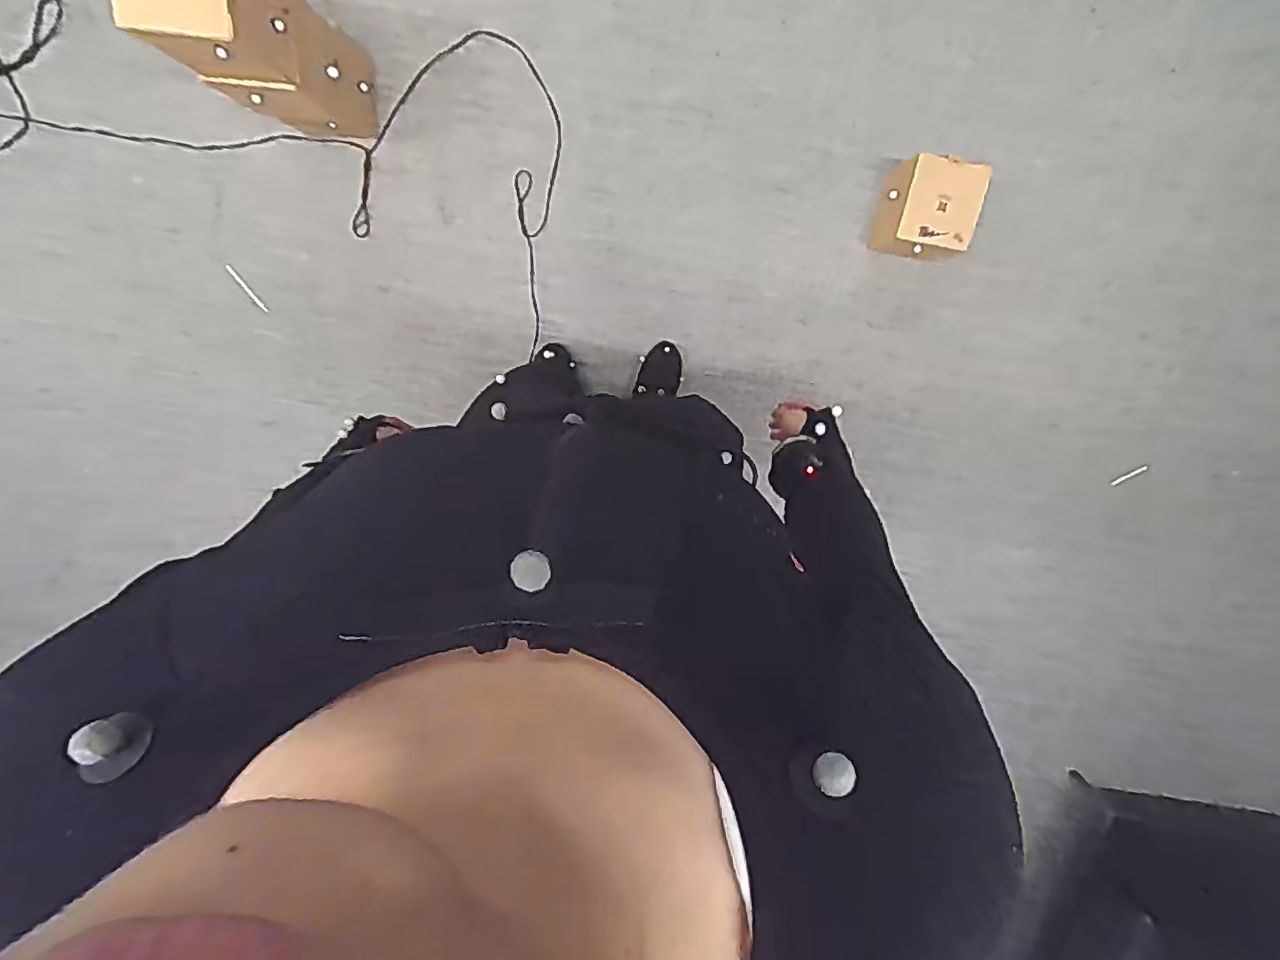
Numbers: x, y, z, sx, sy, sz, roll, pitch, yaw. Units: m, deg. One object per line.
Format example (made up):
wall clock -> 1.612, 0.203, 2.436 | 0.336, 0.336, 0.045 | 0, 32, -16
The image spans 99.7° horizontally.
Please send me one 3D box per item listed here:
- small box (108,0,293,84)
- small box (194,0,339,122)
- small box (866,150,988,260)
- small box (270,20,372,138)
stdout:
small box -> -0.703, -0.773, 0.872 | 0.179, 0.176, 0.168 | 4, 105, -2
small box -> -0.707, -0.811, 1.031 | 0.179, 0.176, 0.168 | 5, 106, -2
small box -> 0.650, -0.624, 1.249 | 0.168, 0.176, 0.179 | 10, 105, -3
small box -> -0.709, -0.871, 1.184 | 0.179, 0.176, 0.168 | 2, 104, 0
